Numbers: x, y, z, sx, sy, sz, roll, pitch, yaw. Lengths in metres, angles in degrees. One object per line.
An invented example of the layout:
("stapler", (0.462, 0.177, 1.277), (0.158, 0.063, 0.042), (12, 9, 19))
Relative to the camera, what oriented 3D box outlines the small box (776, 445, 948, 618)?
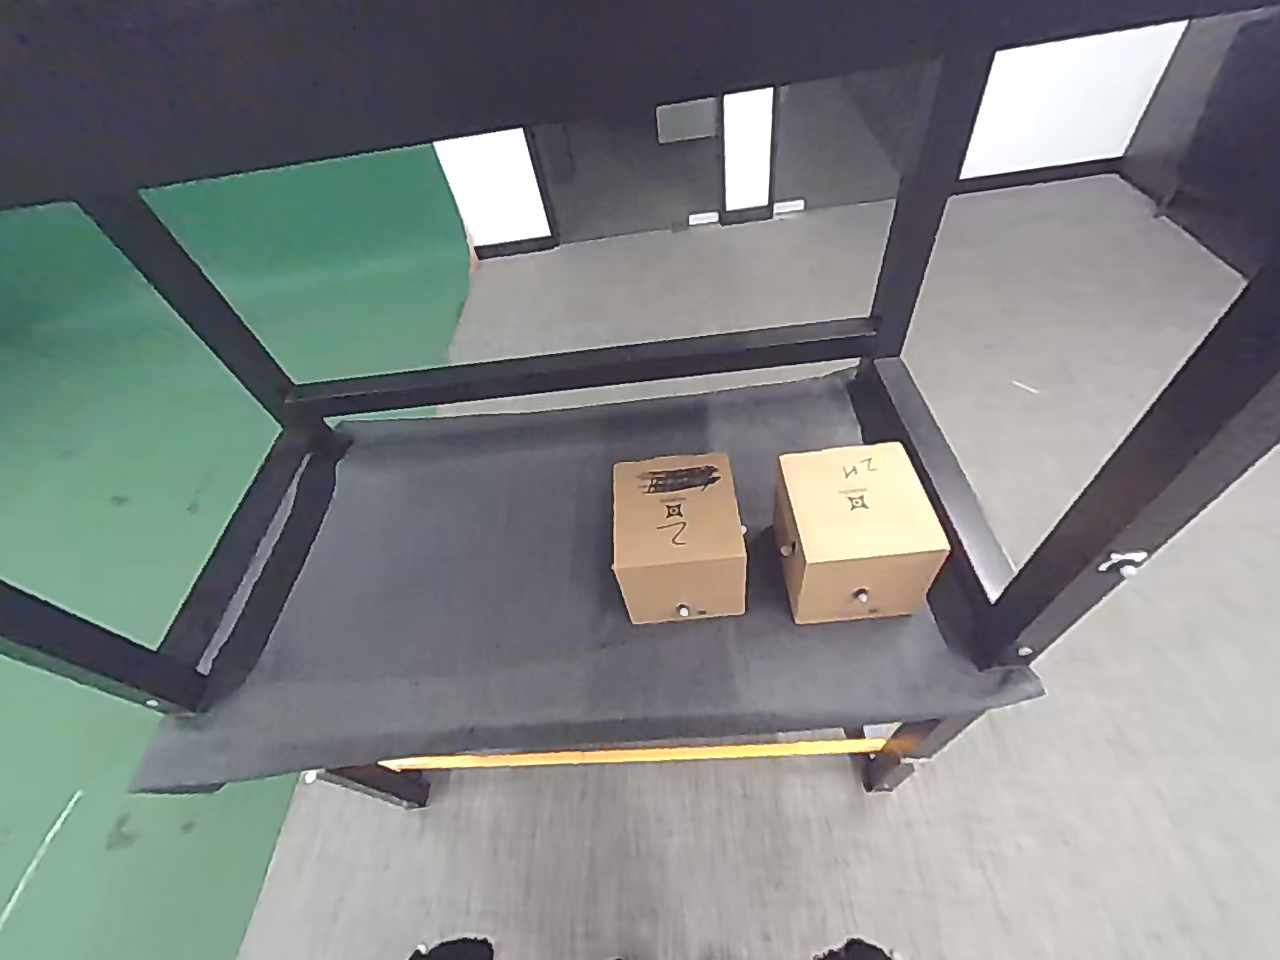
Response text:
("small box", (0.288, 0.078, 0.746), (0.168, 0.176, 0.179), (-6, 49, 5))
